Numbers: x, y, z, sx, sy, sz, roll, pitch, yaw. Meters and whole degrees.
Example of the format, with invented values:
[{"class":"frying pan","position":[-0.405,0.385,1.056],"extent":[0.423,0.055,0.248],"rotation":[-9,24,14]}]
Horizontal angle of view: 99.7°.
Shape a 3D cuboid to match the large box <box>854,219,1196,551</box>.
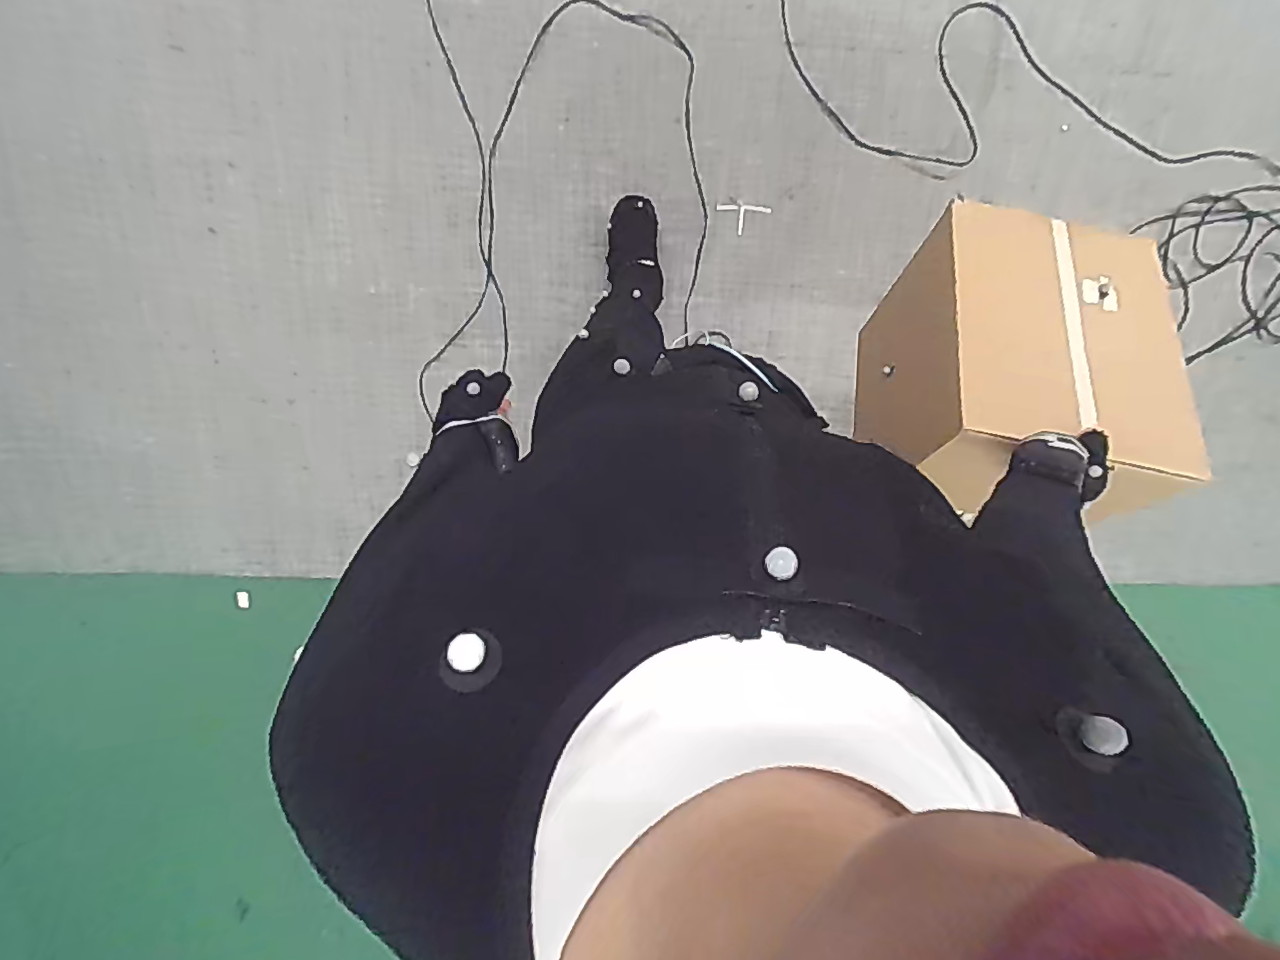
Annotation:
[{"class":"large box","position":[0.565,-0.137,0.886],"extent":[0.320,0.320,0.408],"rotation":[13,65,0]}]
